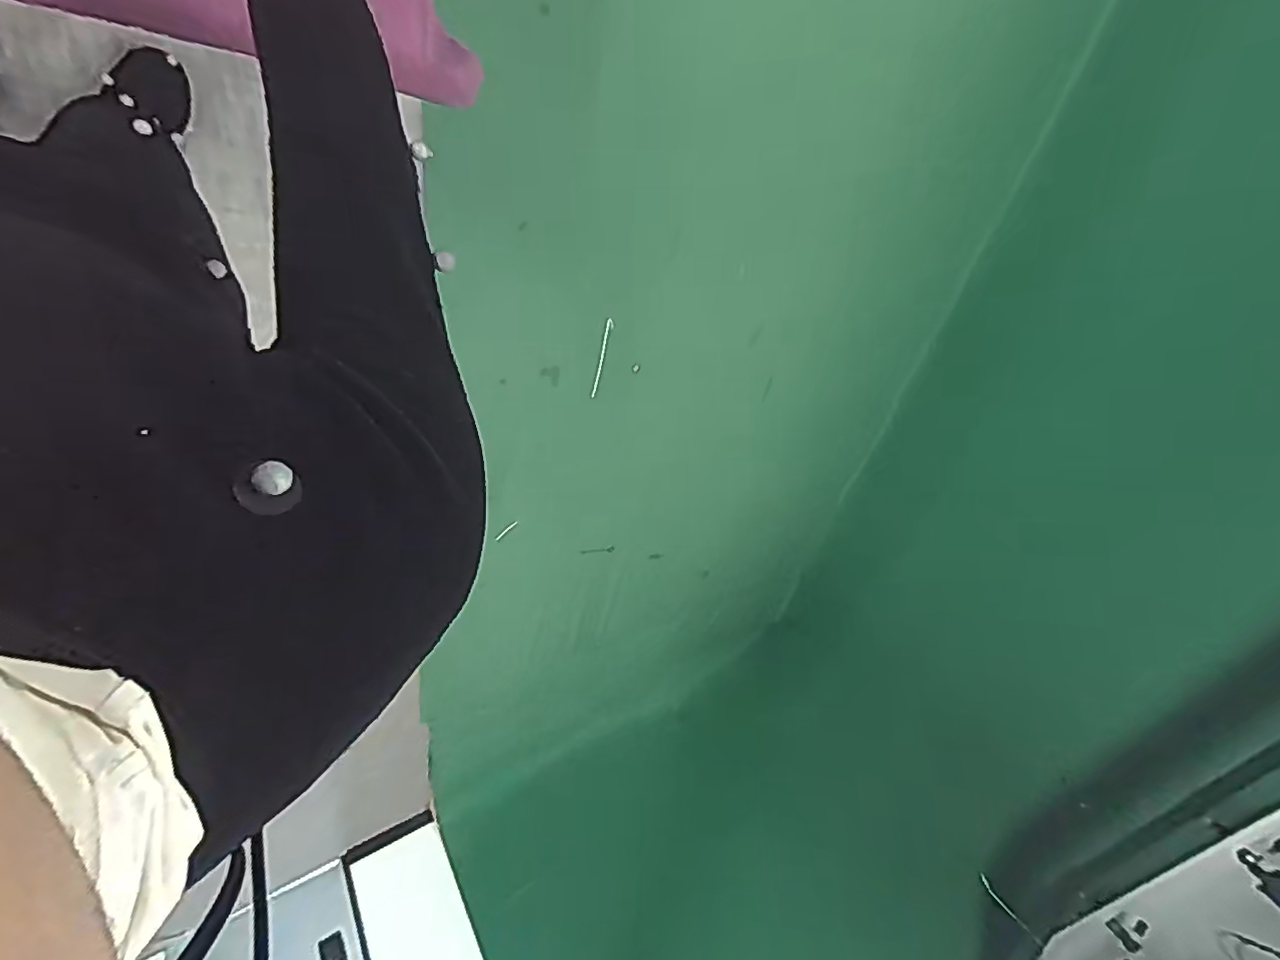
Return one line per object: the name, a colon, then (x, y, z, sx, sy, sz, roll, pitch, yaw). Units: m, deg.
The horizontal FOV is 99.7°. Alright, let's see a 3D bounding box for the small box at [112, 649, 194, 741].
small box: (-1.504, 0.661, 1.677, 0.168, 0.176, 0.179, -10, 131, -37)
